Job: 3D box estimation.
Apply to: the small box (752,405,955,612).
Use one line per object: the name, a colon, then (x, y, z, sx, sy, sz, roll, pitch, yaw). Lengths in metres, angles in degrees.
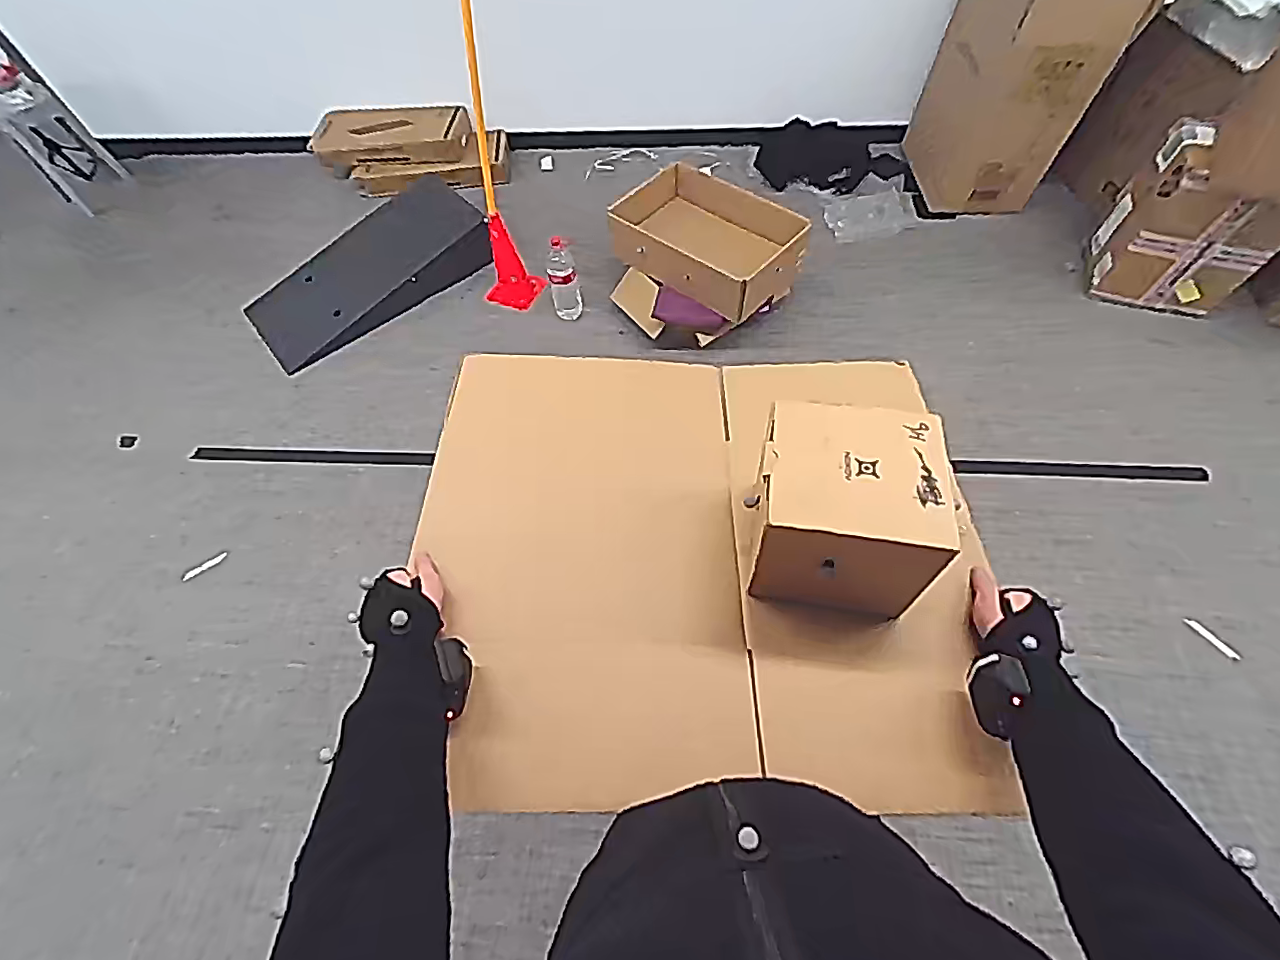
small box: (0.226, 0.036, 0.617, 0.179, 0.176, 0.168, 7, 57, 10)
